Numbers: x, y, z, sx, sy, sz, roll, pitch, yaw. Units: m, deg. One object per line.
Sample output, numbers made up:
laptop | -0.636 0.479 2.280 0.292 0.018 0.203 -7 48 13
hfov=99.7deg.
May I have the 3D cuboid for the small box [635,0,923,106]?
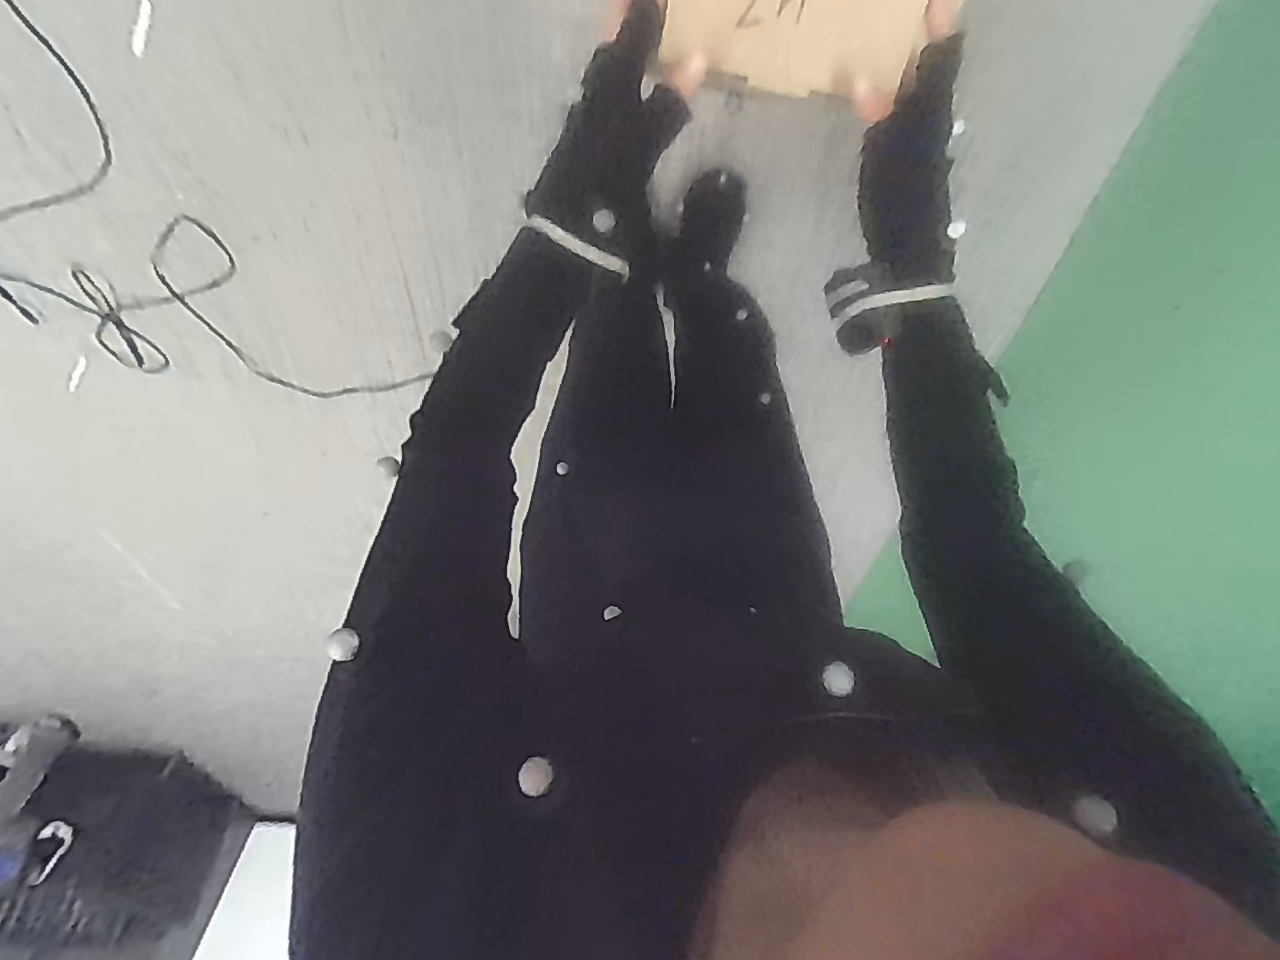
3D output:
small box | 0.093 -0.377 0.370 0.168 0.176 0.179 5 123 -10
